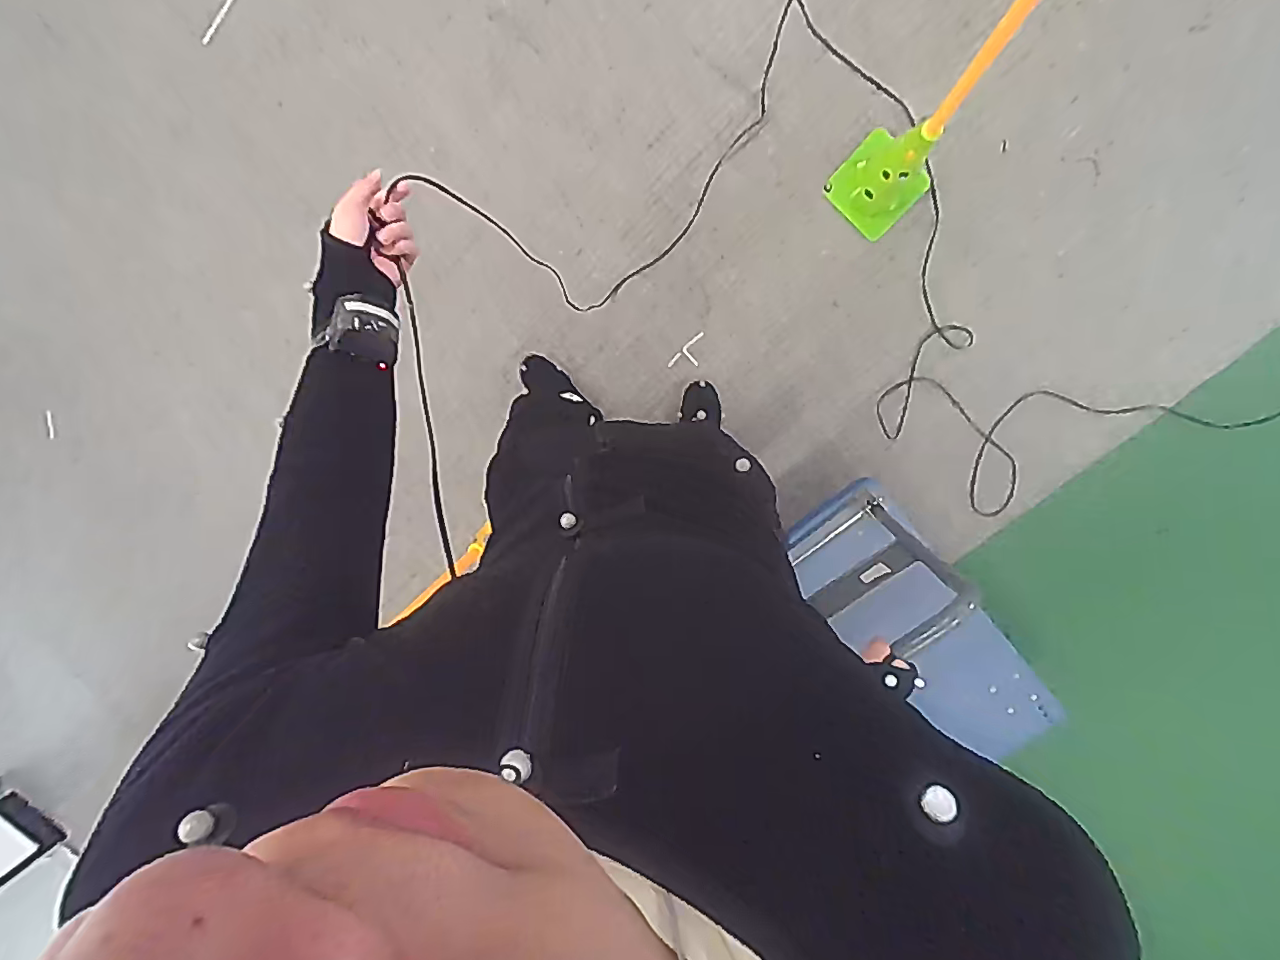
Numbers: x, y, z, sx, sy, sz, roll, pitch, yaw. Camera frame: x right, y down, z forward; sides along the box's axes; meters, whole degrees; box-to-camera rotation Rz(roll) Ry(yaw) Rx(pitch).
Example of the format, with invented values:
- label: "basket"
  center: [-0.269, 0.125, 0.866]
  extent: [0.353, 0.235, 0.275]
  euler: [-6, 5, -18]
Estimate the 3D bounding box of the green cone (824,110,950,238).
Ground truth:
- label: "green cone"
  center: [0.581, -0.710, 1.195]
  extent: [0.200, 0.368, 0.202]
  euler: [42, 103, -5]
